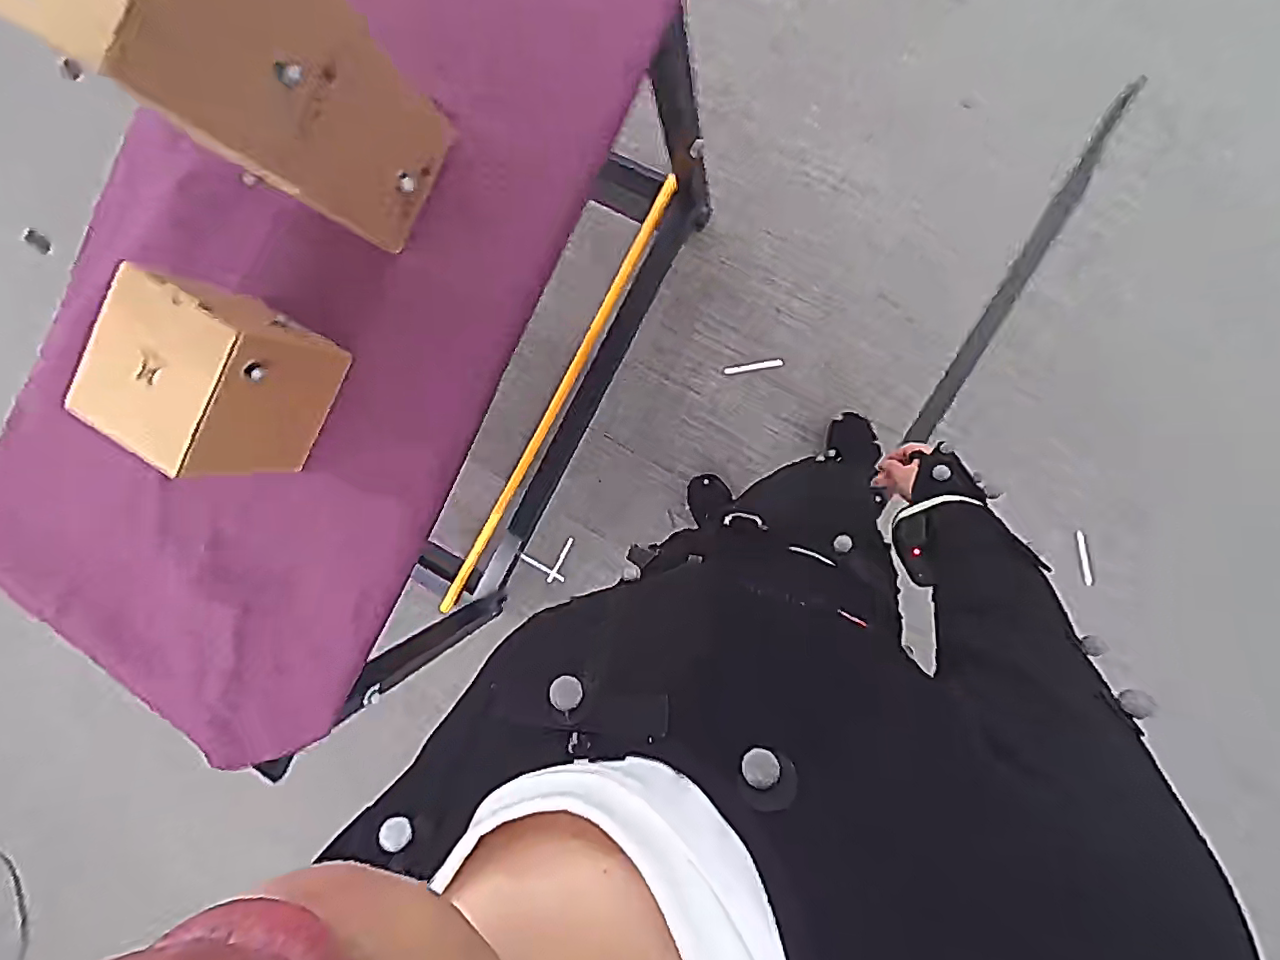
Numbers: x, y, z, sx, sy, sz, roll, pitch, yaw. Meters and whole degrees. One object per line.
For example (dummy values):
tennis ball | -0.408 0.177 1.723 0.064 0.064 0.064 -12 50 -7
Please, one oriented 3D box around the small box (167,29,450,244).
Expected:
small box | -0.354 -0.397 0.606 0.179 0.176 0.168 31 98 7

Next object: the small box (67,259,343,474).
small box | -0.499 -0.121 0.644 0.168 0.176 0.179 29 96 8

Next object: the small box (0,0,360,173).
small box | -0.380 -0.394 0.442 0.179 0.176 0.168 31 98 7
